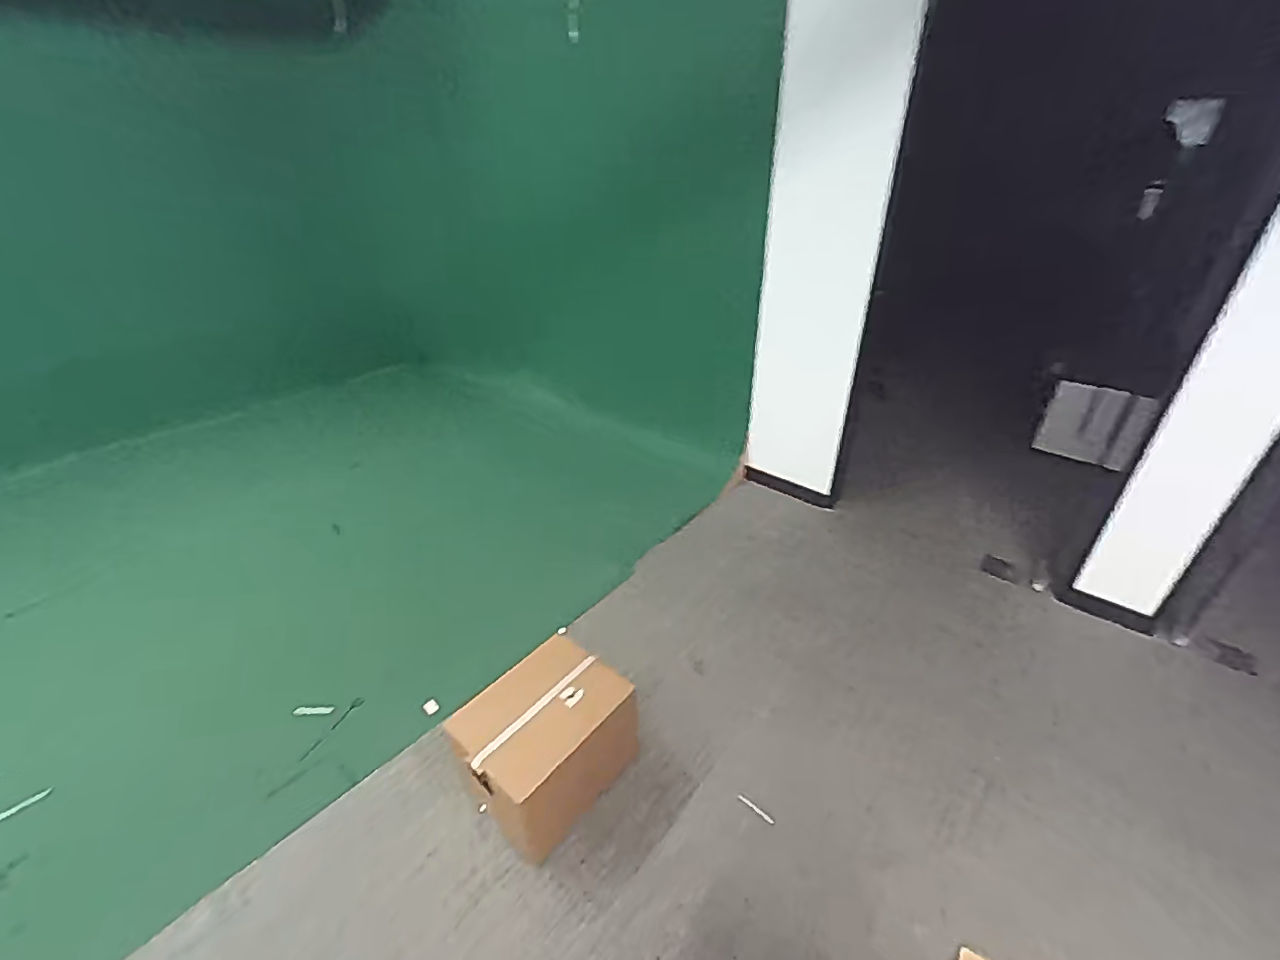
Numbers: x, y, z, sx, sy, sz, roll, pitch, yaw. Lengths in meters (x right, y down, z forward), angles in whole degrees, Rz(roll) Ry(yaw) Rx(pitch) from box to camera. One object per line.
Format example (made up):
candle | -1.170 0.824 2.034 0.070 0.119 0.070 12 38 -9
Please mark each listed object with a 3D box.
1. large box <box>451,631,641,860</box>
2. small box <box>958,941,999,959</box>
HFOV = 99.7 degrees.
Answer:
large box | -0.239 0.710 1.493 0.320 0.320 0.408 24 39 34
small box | 0.376 0.626 0.530 0.168 0.176 0.179 16 37 28
